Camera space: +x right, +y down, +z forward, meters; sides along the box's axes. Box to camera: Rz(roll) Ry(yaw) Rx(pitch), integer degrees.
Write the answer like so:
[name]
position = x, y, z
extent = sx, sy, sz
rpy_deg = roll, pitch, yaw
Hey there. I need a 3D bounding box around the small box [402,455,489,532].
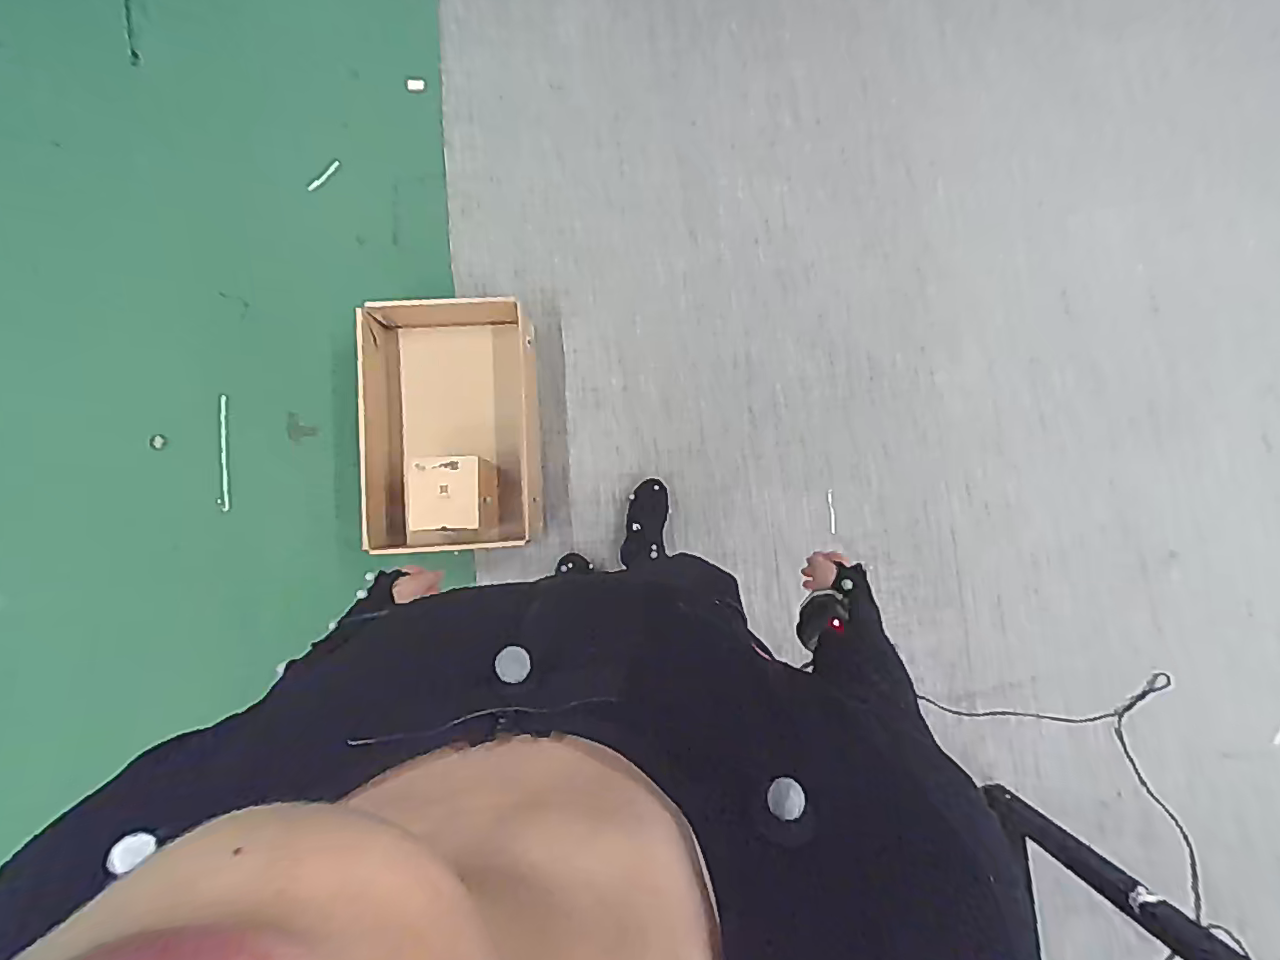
[small box]
position = -0.473, 0.034, 1.334
extent = 0.168, 0.176, 0.179
rpy_deg = -2, 87, -4
